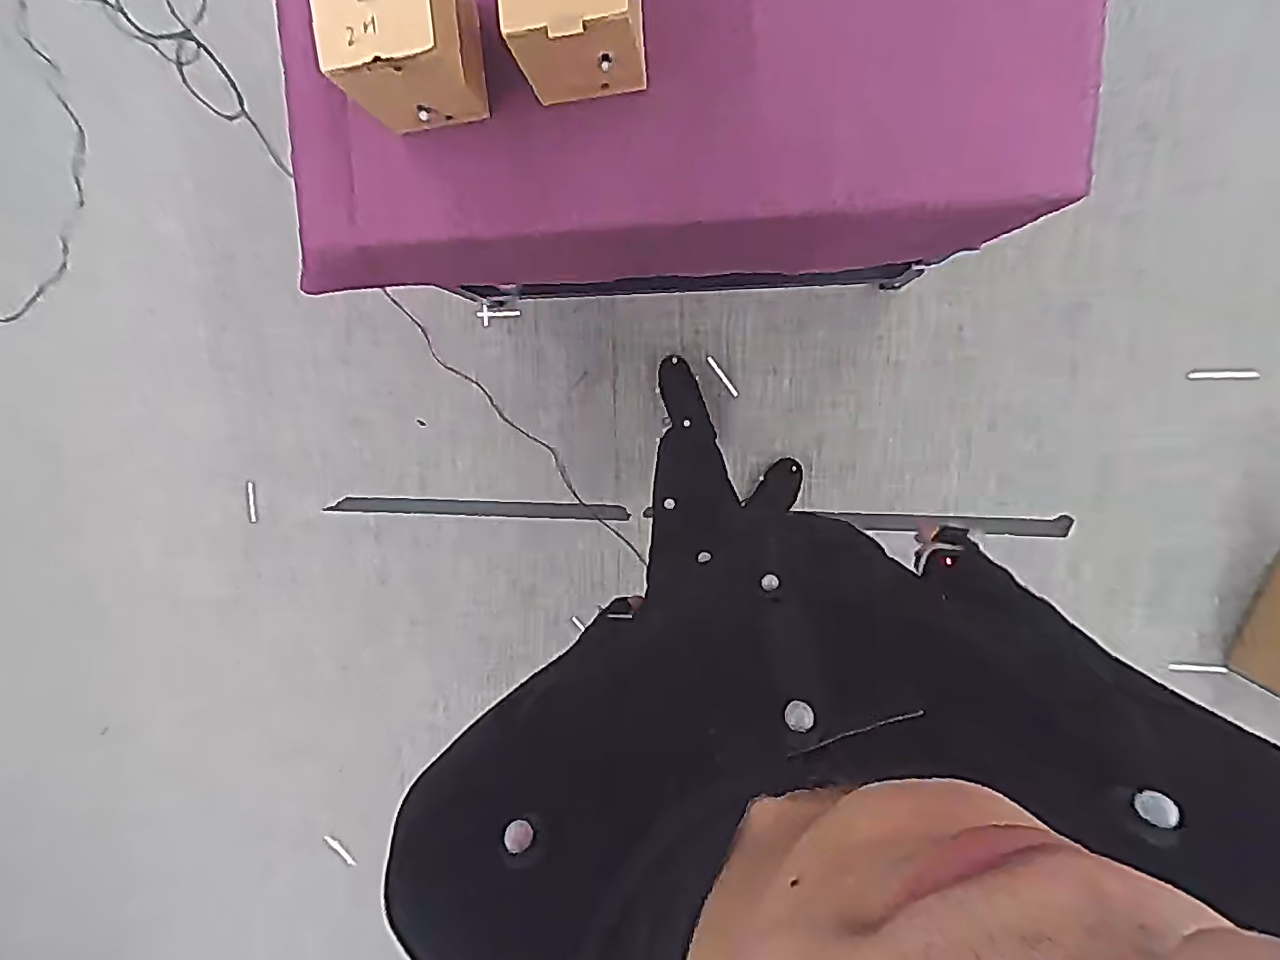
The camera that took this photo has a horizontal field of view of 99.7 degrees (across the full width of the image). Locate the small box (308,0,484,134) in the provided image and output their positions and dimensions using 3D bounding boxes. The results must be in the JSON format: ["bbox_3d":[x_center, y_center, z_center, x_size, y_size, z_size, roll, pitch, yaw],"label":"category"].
[{"bbox_3d":[-0.340,-0.636,0.771,0.168,0.176,0.179,-4,98,9],"label":"small box"}]

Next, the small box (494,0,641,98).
[{"bbox_3d":[-0.092,-0.656,0.736,0.168,0.176,0.179,-2,97,8],"label":"small box"}]
